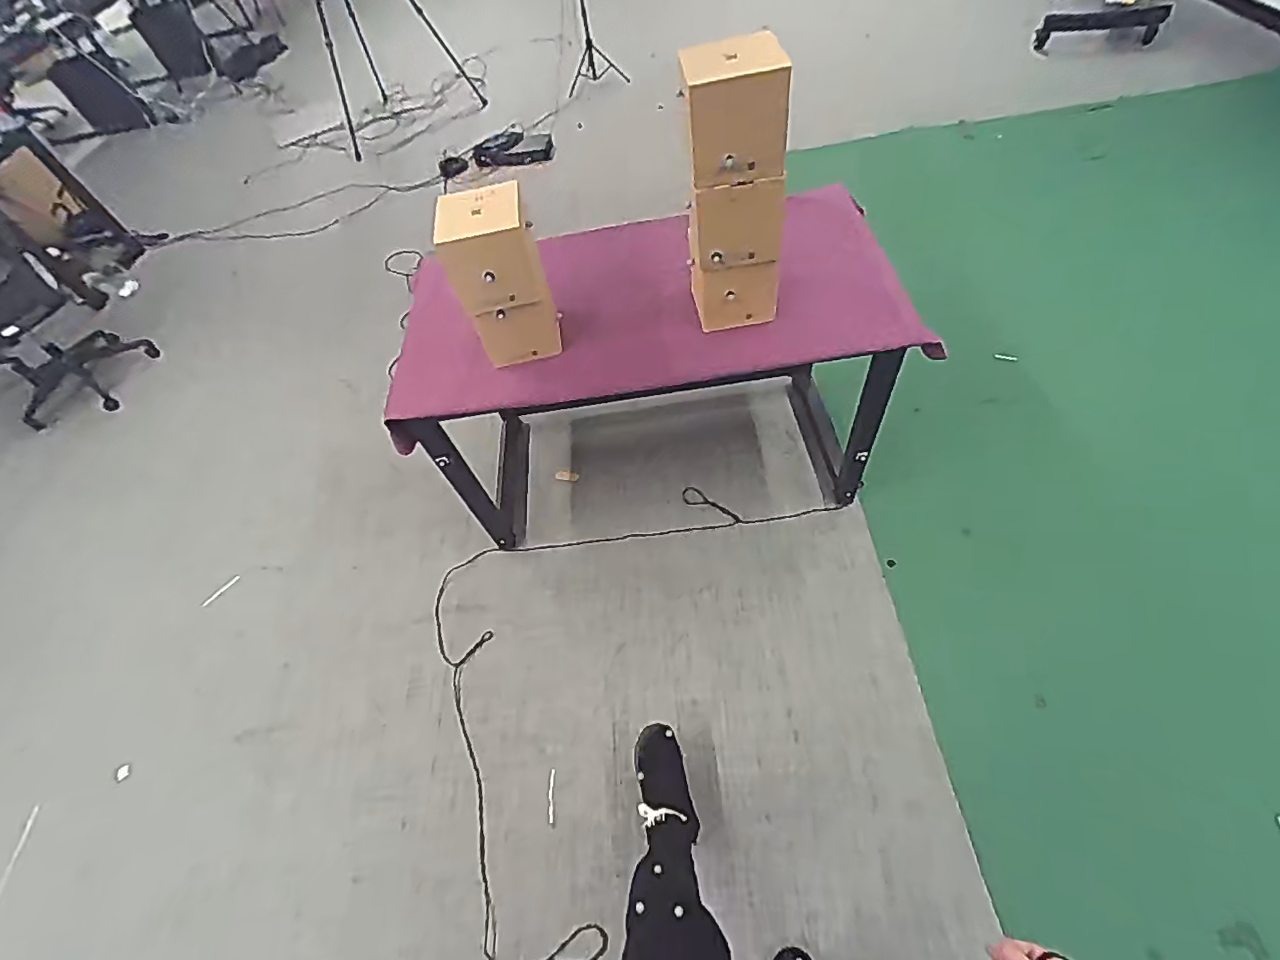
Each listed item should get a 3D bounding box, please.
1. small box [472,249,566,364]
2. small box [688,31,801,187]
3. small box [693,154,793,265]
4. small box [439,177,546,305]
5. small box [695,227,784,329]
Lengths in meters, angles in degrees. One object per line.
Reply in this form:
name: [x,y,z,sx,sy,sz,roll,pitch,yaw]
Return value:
small box: [-0.273,-0.397,1.244,0.168,0.176,0.179,-12,54,1]
small box: [0.175,-0.645,0.946,0.168,0.176,0.179,-7,54,5]
small box: [0.200,-0.546,1.073,0.168,0.176,0.179,-7,53,4]
small box: [-0.291,-0.476,1.099,0.168,0.176,0.179,-10,55,1]
small box: [0.220,-0.458,1.211,0.168,0.176,0.179,-9,53,3]
